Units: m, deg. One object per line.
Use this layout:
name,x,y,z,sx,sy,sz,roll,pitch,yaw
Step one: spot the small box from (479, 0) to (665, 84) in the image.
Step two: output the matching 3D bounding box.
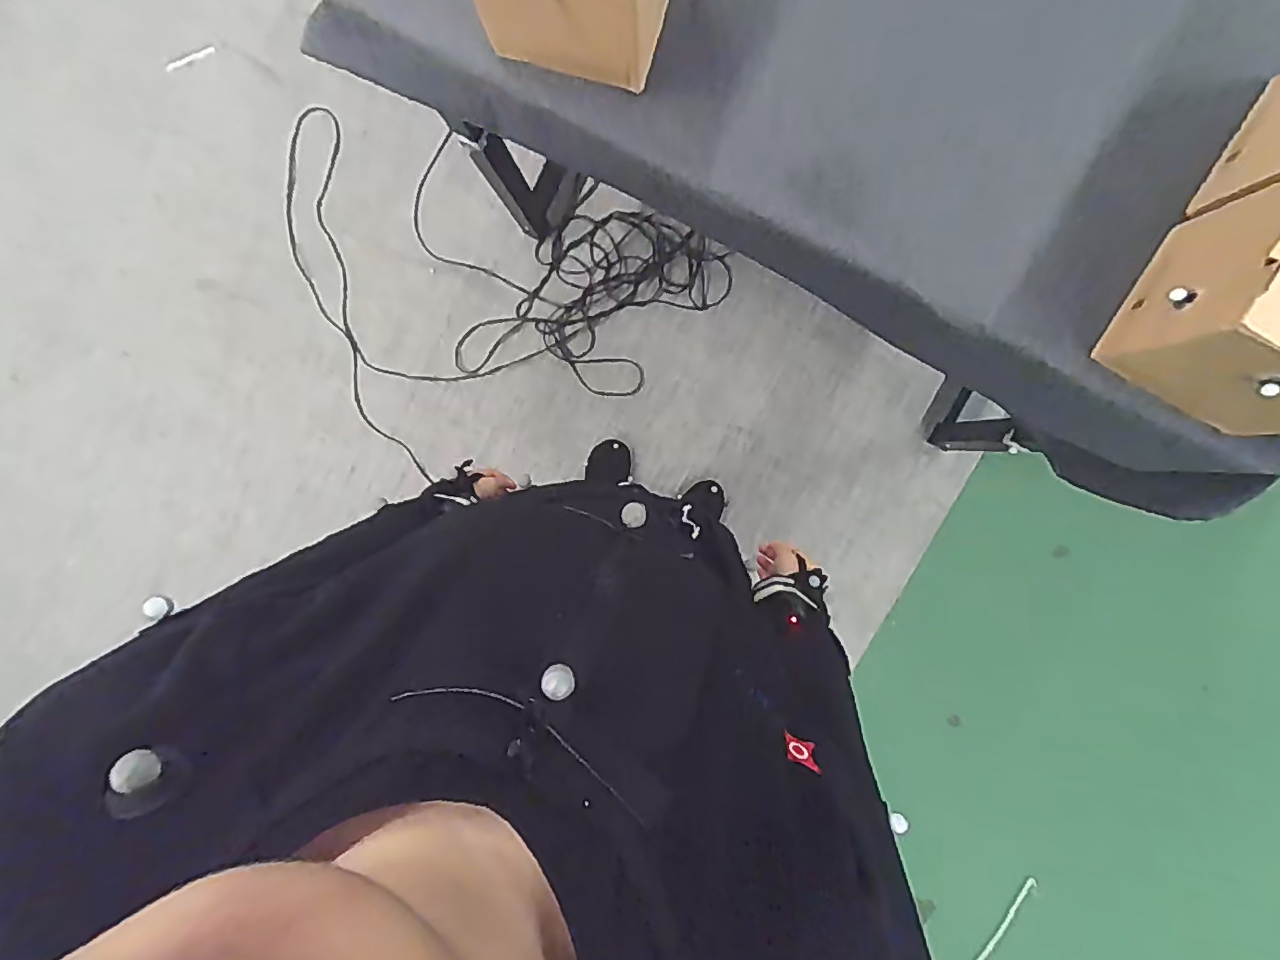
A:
small box,-0.058,-0.531,0.521,0.179,0.176,0.168,17,93,2
